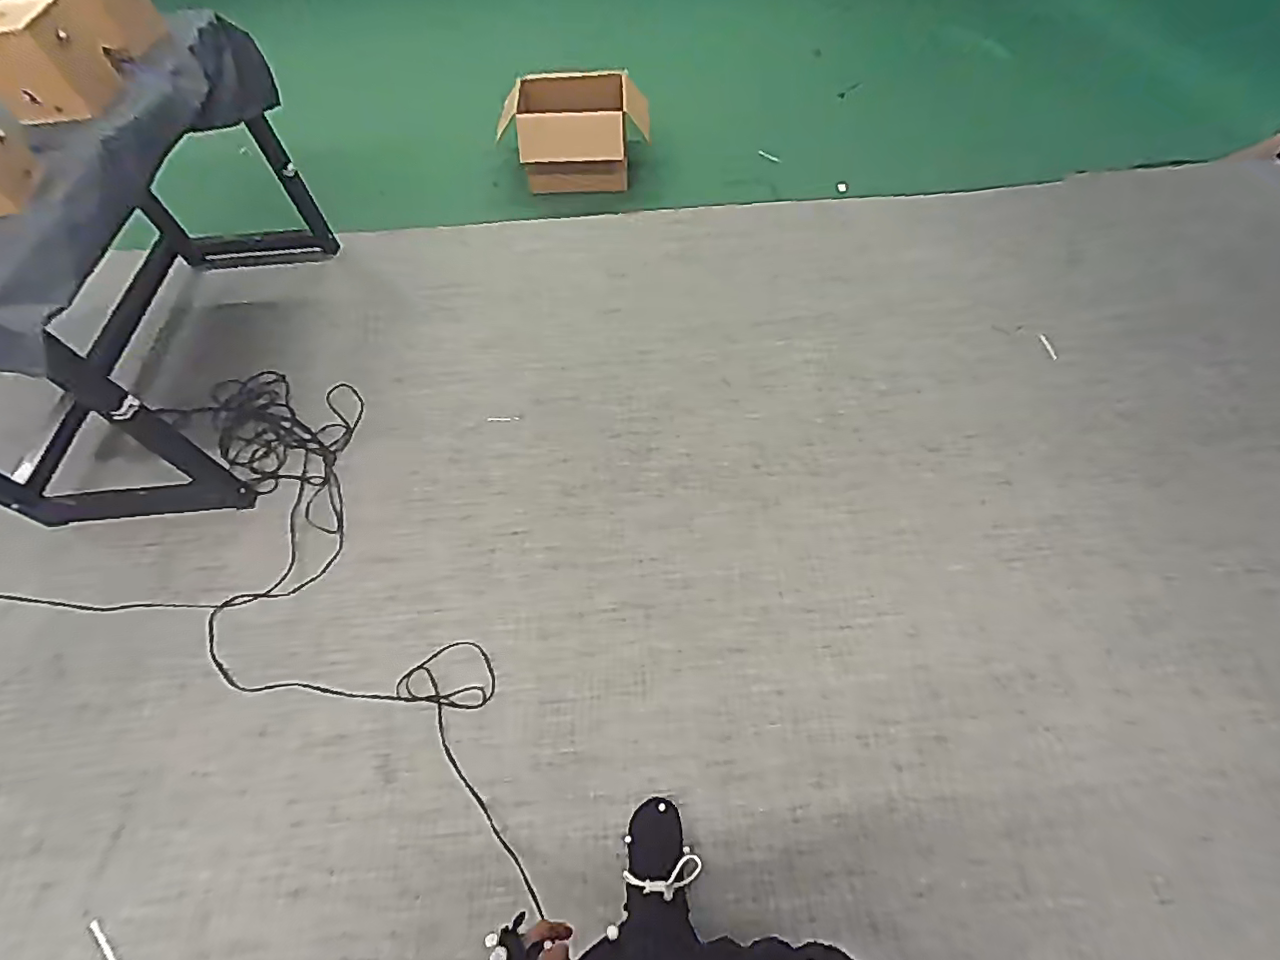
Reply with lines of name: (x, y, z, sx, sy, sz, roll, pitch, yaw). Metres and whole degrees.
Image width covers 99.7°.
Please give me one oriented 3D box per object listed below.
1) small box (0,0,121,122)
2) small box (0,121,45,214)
small box: (-1.306, -0.918, 1.183, 0.168, 0.176, 0.179, -7, 60, -2)
small box: (-1.275, -0.598, 0.990, 0.179, 0.176, 0.168, -14, 58, -5)
